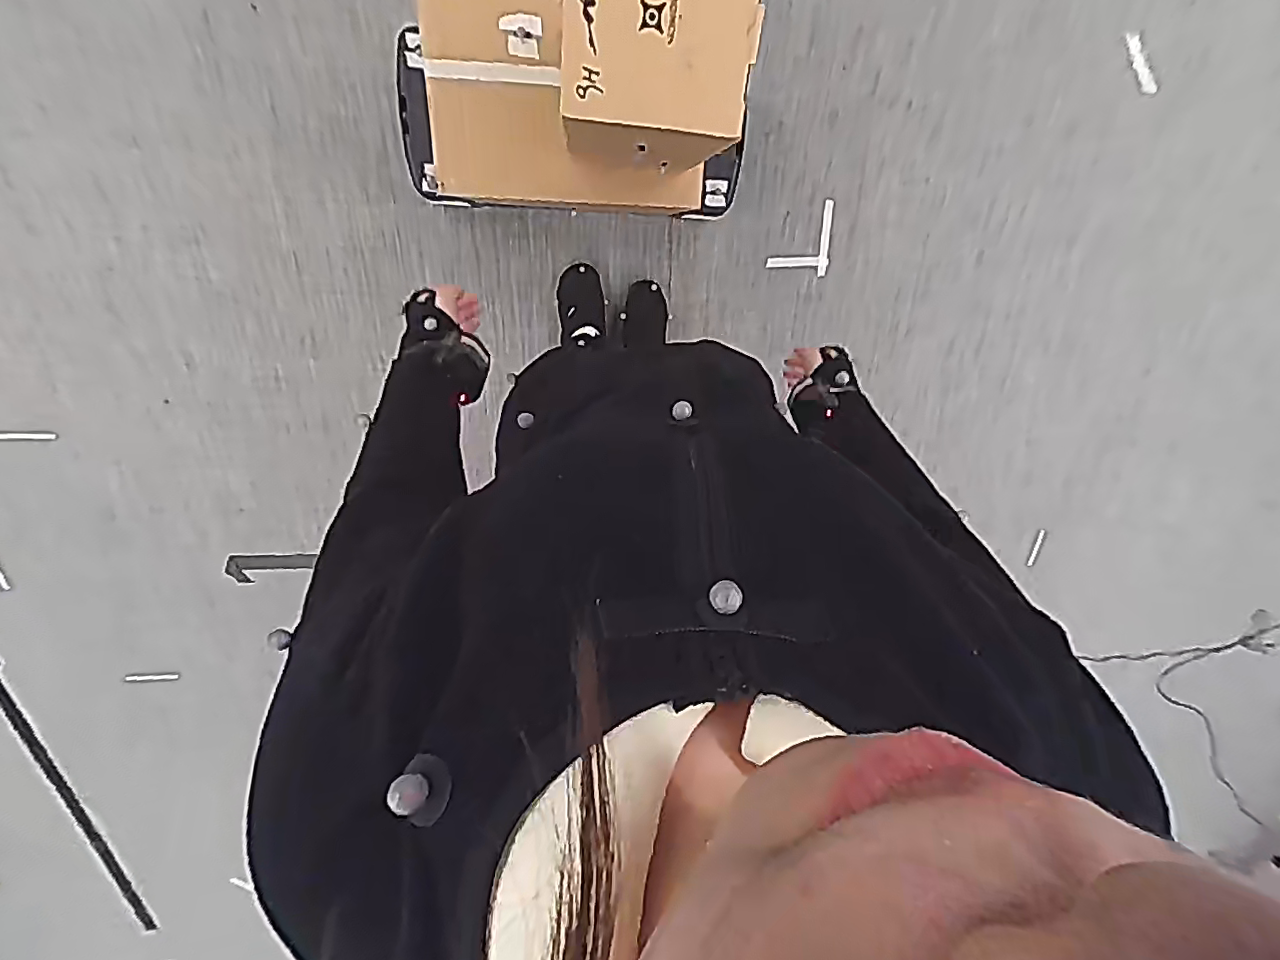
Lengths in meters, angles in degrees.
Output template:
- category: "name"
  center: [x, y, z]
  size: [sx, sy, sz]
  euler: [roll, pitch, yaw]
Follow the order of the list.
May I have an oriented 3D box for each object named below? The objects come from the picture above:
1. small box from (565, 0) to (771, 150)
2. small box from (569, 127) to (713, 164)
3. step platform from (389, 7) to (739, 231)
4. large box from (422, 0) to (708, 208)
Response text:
- category: "small box"
  center: [0.018, -0.440, 0.538]
  size: [0.179, 0.176, 0.168]
  euler: [3, 114, -8]
- category: "small box"
  center: [0.004, -0.510, 0.685]
  size: [0.179, 0.176, 0.168]
  euler: [4, 114, -7]
- category: "step platform"
  center: [-0.140, -0.713, 1.111]
  size: [0.684, 0.204, 0.286]
  euler: [5, 114, -7]
- category: "large box"
  center: [-0.102, -0.628, 0.891]
  size: [0.408, 0.320, 0.320]
  euler: [0, 114, -5]
